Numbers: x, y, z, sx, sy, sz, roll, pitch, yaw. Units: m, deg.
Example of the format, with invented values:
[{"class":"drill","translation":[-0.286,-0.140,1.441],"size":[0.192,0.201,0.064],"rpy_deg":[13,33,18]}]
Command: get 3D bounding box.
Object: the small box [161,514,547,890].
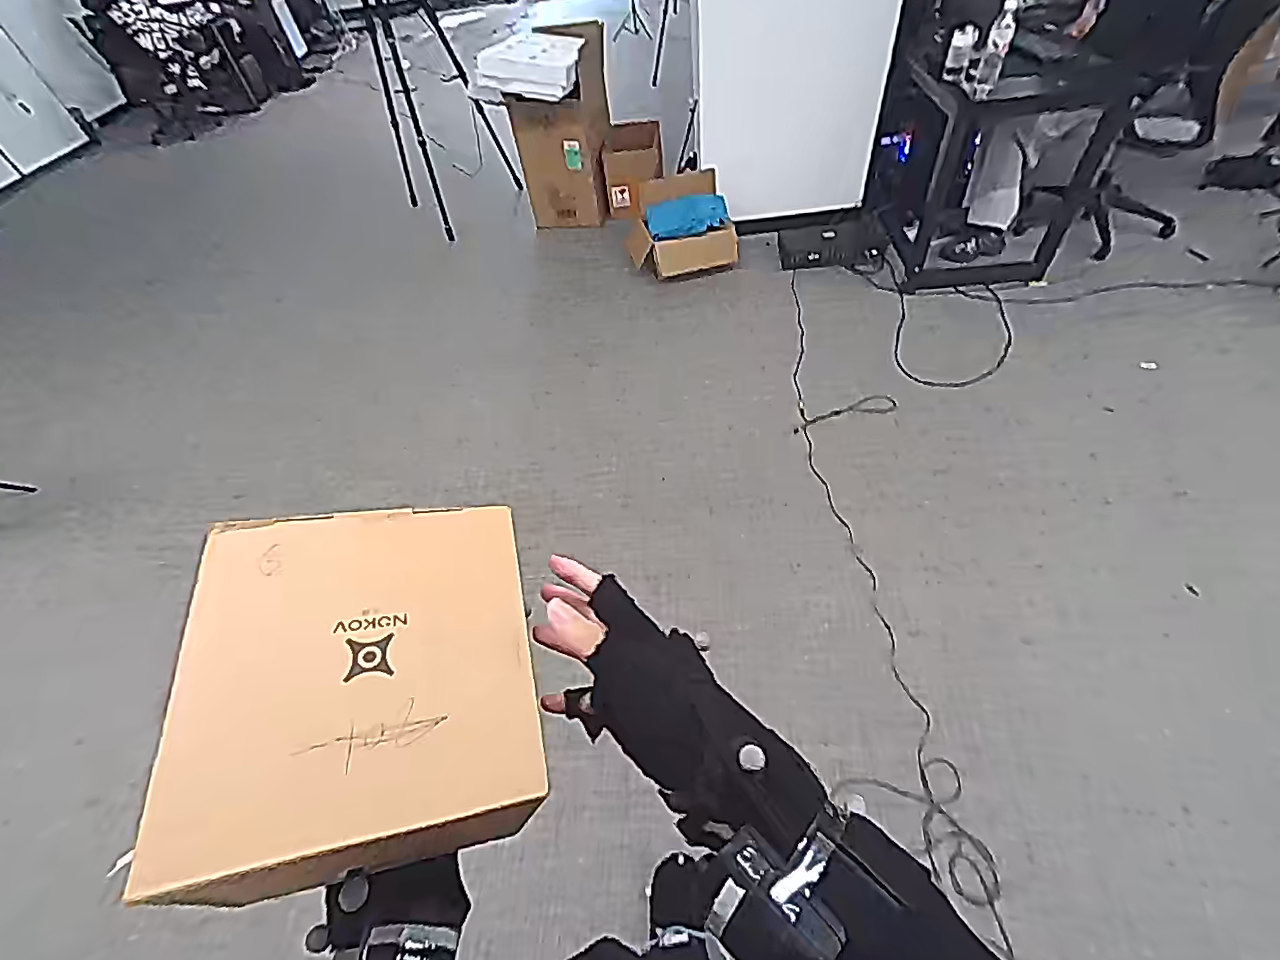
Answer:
[{"class":"small box","translation":[-0.164,0.143,0.359],"size":[0.168,0.176,0.179],"rpy_deg":[-3,54,-20]}]
